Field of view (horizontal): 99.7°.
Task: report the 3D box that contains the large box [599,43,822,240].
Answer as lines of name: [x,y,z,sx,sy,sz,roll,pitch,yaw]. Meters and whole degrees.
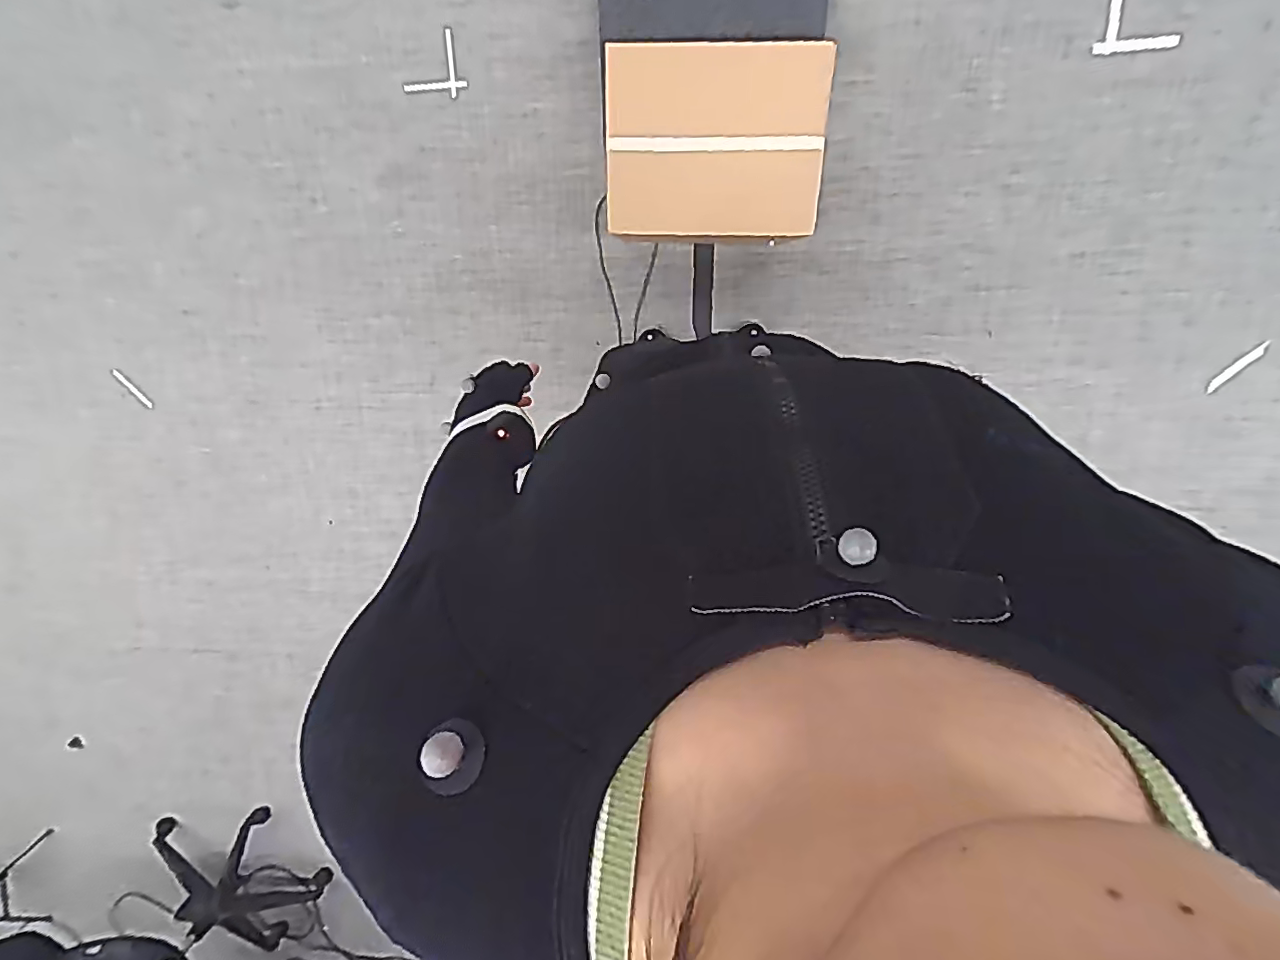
large box: [0.134,-0.684,1.151,0.408,0.320,0.320,2,111,2]

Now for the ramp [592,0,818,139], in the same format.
ramp: [0.135,-1.249,1.054,0.509,0.206,0.991,-2,107,2]
